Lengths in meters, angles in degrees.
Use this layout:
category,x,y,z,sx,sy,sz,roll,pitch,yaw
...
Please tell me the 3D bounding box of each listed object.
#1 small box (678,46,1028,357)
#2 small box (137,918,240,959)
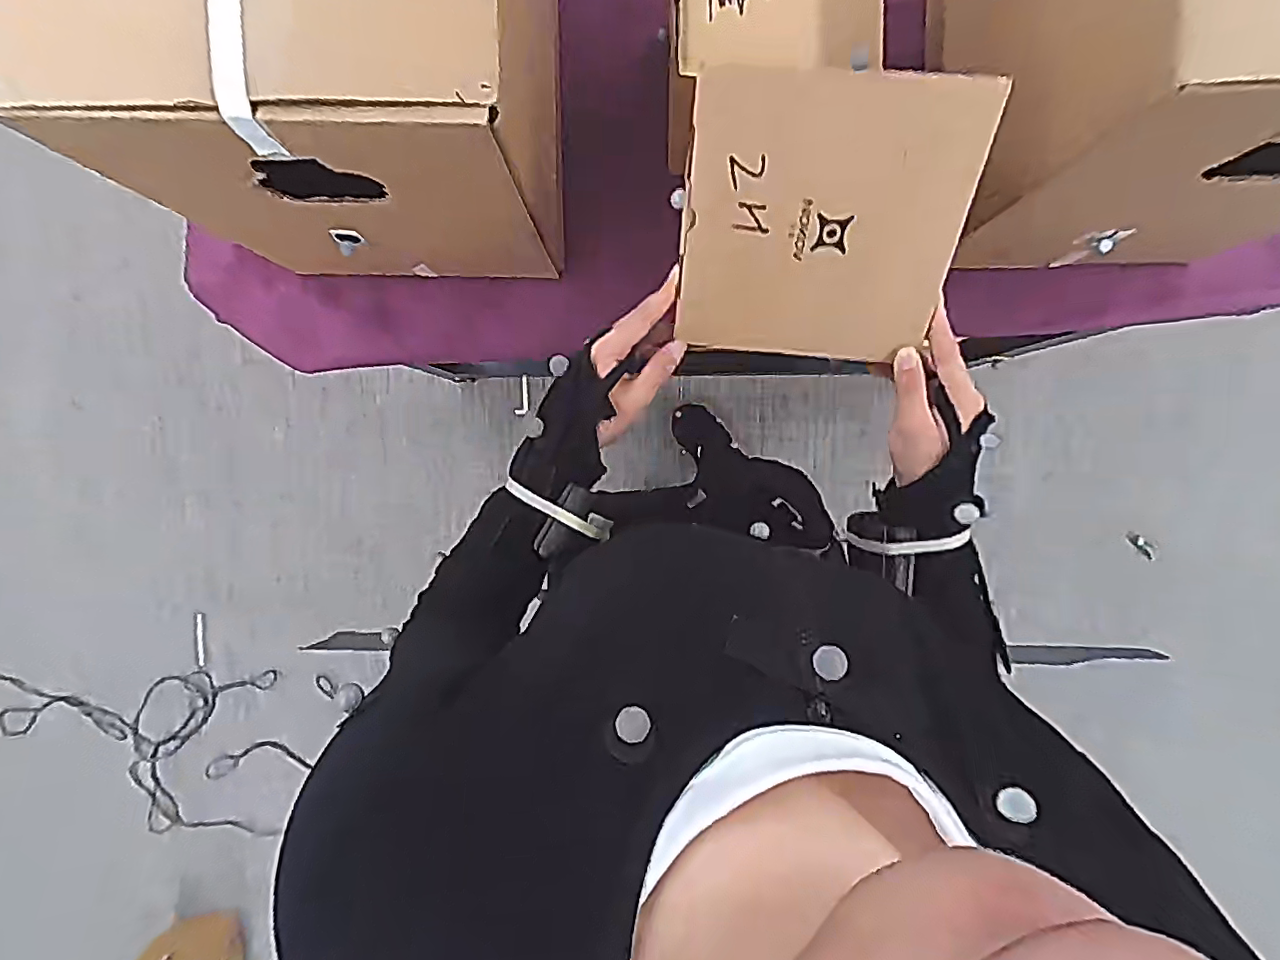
category,x,y,z,sx,sy,sz,roll,pitch,yaw
small box,0.127,-0.204,0.402,0.179,0.176,0.168,6,123,4
small box,-1.181,1.281,1.393,0.179,0.176,0.168,-7,94,1
